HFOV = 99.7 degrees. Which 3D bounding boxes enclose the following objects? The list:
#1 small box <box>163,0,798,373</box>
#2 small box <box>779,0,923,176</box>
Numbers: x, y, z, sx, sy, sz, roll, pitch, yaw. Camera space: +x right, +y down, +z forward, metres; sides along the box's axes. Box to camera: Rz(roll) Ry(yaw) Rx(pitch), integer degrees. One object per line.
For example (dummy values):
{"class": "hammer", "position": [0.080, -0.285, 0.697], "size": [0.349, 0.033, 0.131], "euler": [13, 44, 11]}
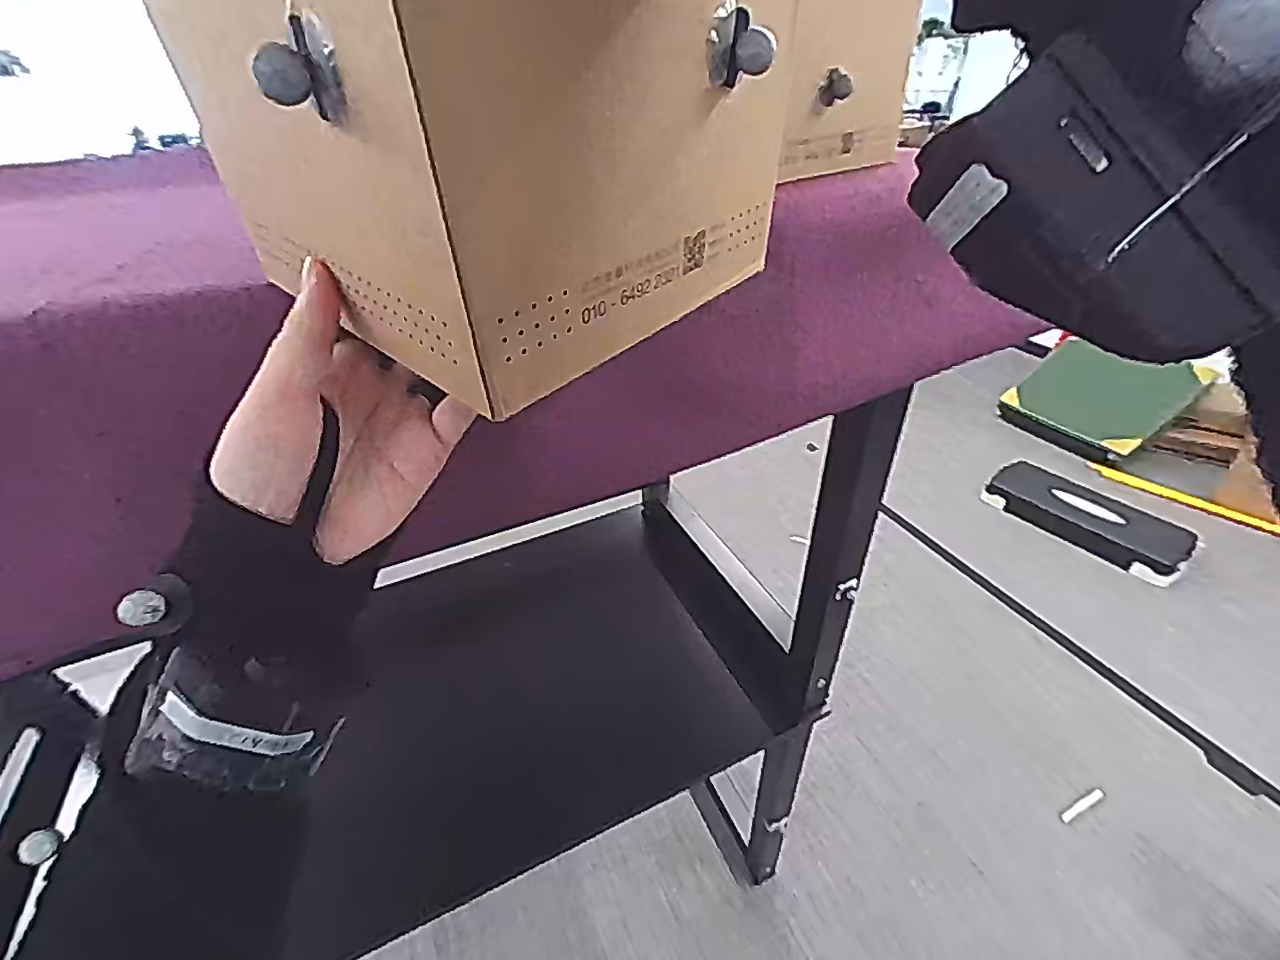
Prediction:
{"class": "small box", "position": [-0.051, -0.161, 0.203], "size": [0.179, 0.176, 0.168], "euler": [31, 50, 29]}
{"class": "small box", "position": [0.091, -0.341, 0.423], "size": [0.168, 0.176, 0.179], "euler": [-23, 40, -23]}
